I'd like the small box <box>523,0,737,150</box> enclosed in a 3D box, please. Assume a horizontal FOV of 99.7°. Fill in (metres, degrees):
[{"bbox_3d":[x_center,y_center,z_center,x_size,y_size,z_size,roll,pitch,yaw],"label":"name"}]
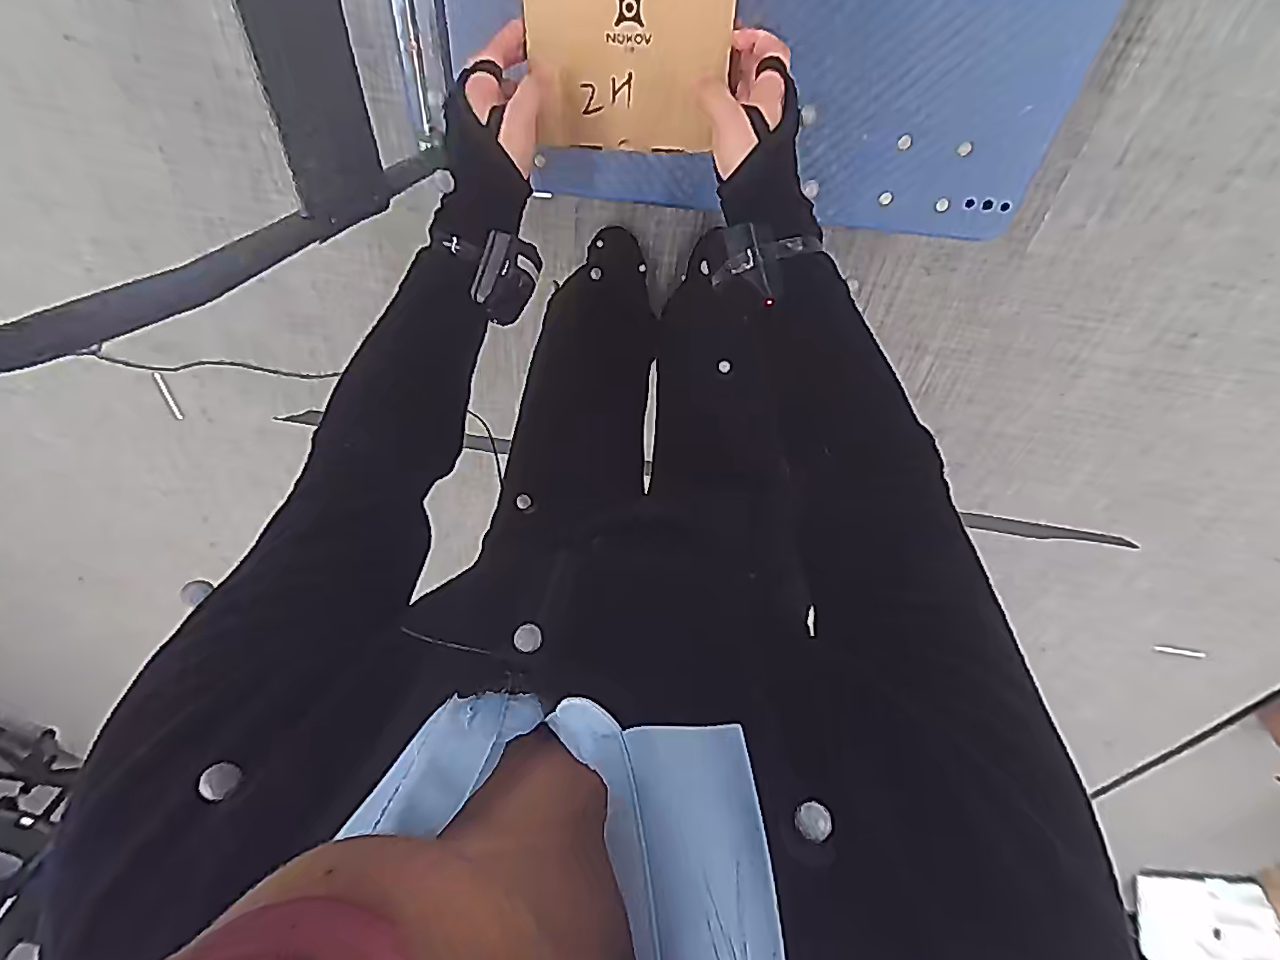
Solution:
[{"bbox_3d":[-0.002,-0.410,0.476,0.168,0.176,0.179,5,131,3],"label":"small box"}]
